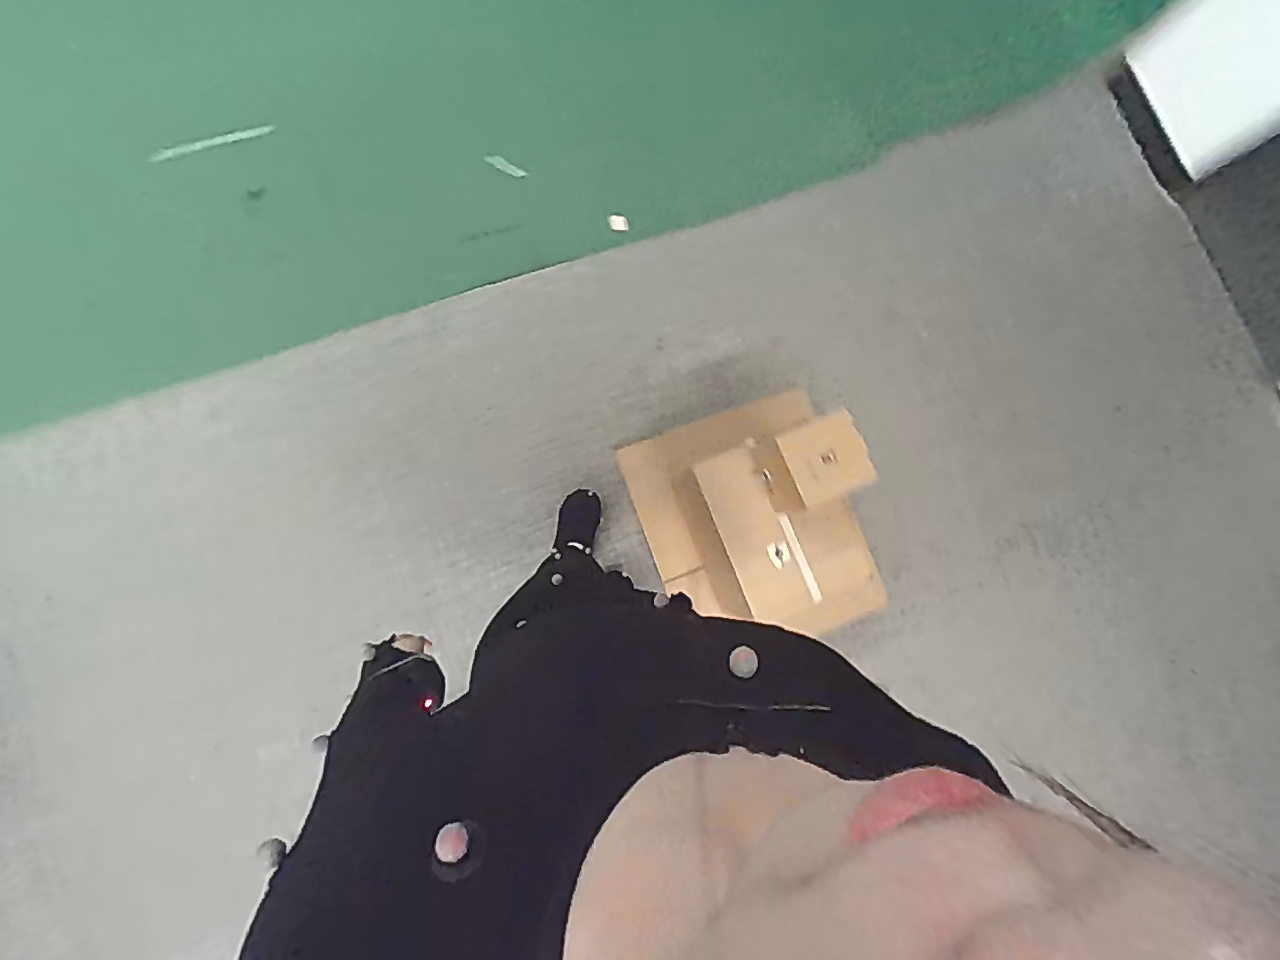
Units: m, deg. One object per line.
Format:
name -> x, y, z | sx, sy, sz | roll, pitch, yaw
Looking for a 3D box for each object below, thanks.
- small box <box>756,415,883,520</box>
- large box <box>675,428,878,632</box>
small box -> 0.381, -0.021, 1.177 | 0.179, 0.176, 0.168 | -22, 85, -9
large box -> 0.325, 0.126, 1.397 | 0.320, 0.320, 0.408 | -21, 86, -8
